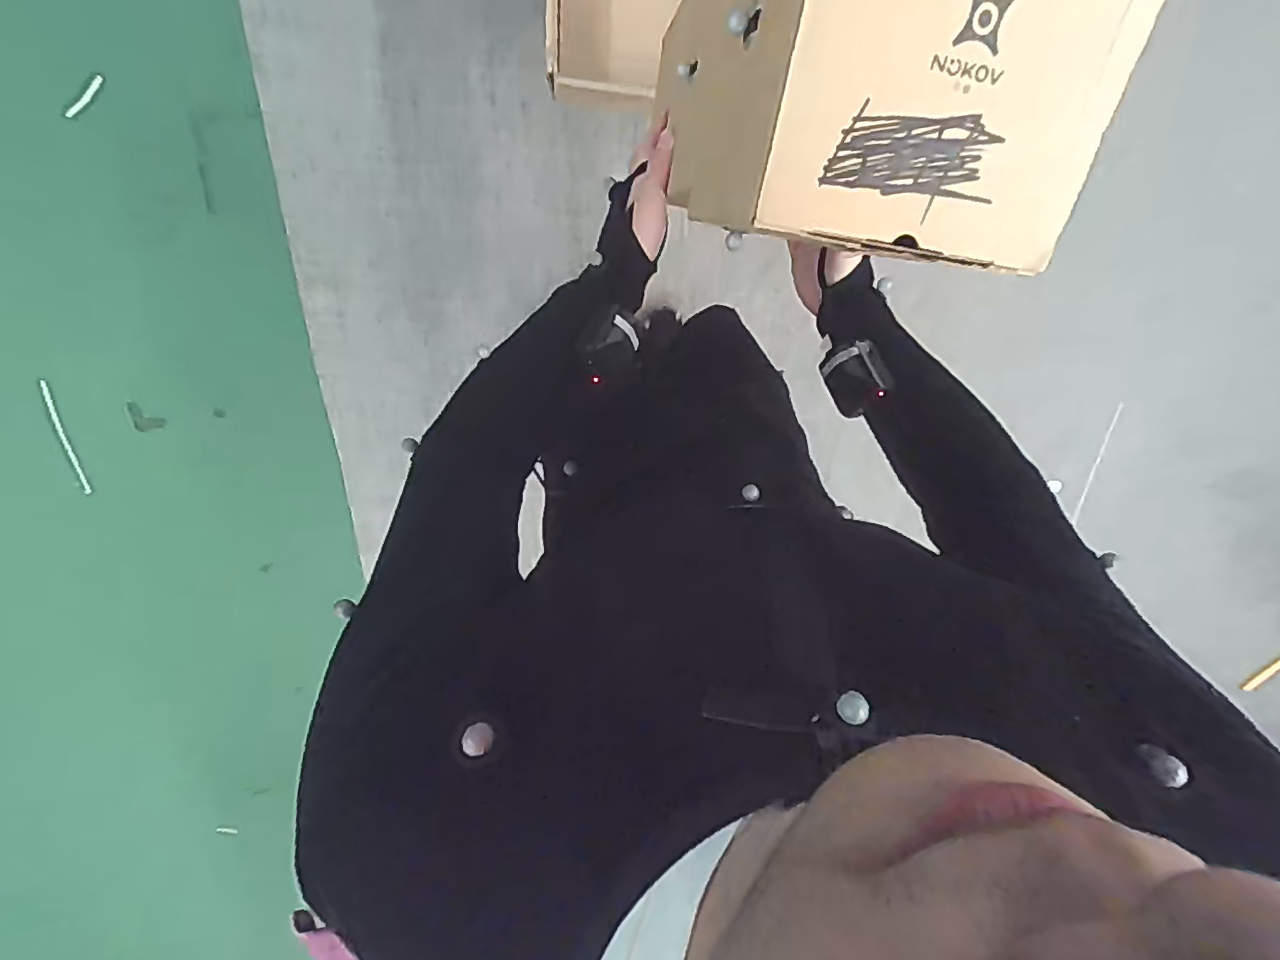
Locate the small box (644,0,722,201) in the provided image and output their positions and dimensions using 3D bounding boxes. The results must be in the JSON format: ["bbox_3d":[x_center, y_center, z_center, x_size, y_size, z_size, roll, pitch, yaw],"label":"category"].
[{"bbox_3d":[0.103,-0.402,0.586,0.168,0.176,0.179,7,116,-9],"label":"small box"}]

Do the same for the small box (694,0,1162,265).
[{"bbox_3d":[0.135,-0.233,0.304,0.168,0.176,0.179,5,116,-10],"label":"small box"}]
